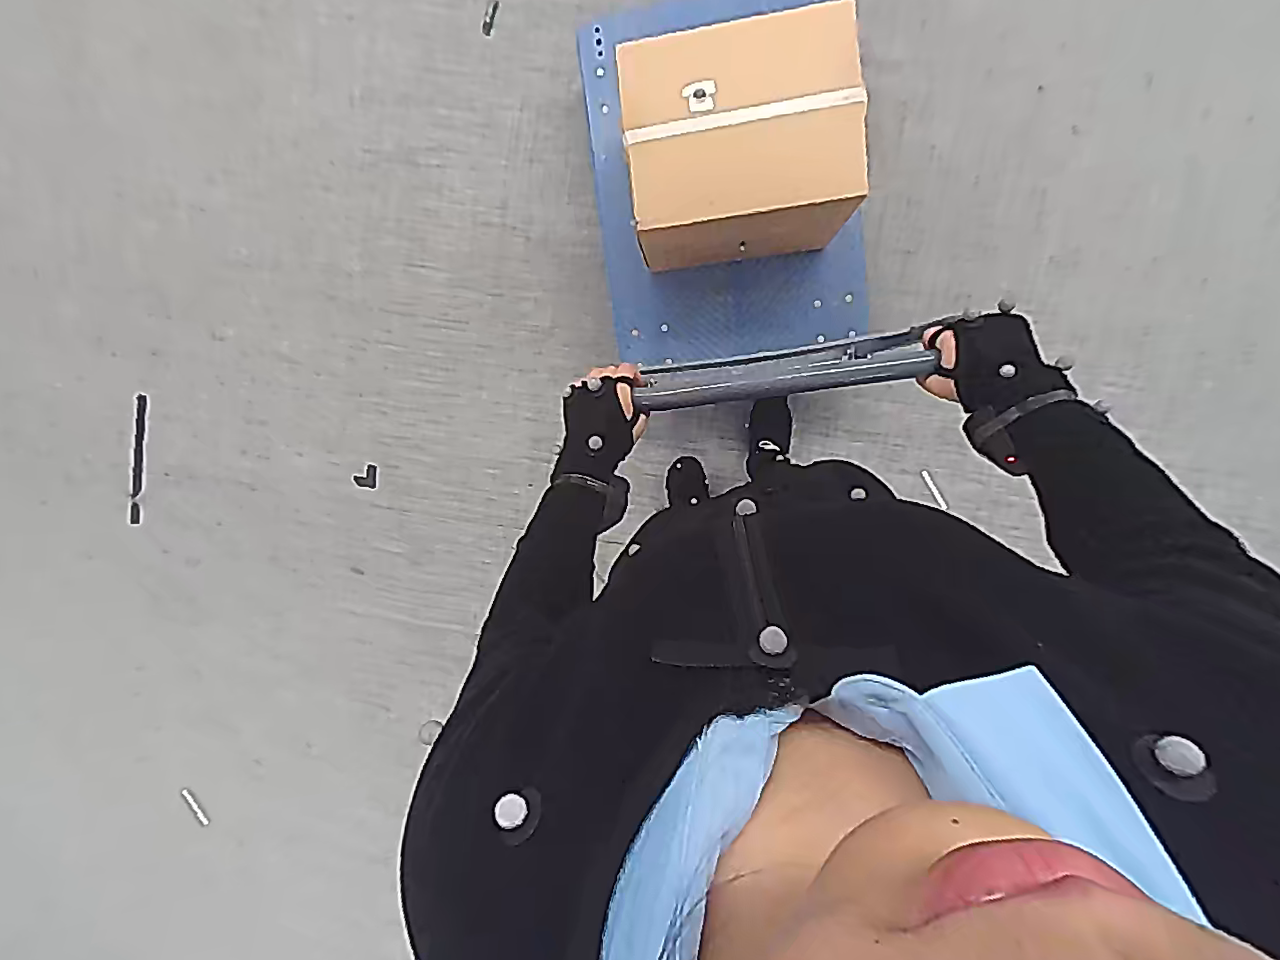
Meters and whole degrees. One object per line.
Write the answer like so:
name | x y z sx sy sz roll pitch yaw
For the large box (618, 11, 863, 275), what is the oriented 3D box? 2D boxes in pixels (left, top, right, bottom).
large box | 0.193 -0.637 1.098 0.408 0.320 0.320 -6 96 8
